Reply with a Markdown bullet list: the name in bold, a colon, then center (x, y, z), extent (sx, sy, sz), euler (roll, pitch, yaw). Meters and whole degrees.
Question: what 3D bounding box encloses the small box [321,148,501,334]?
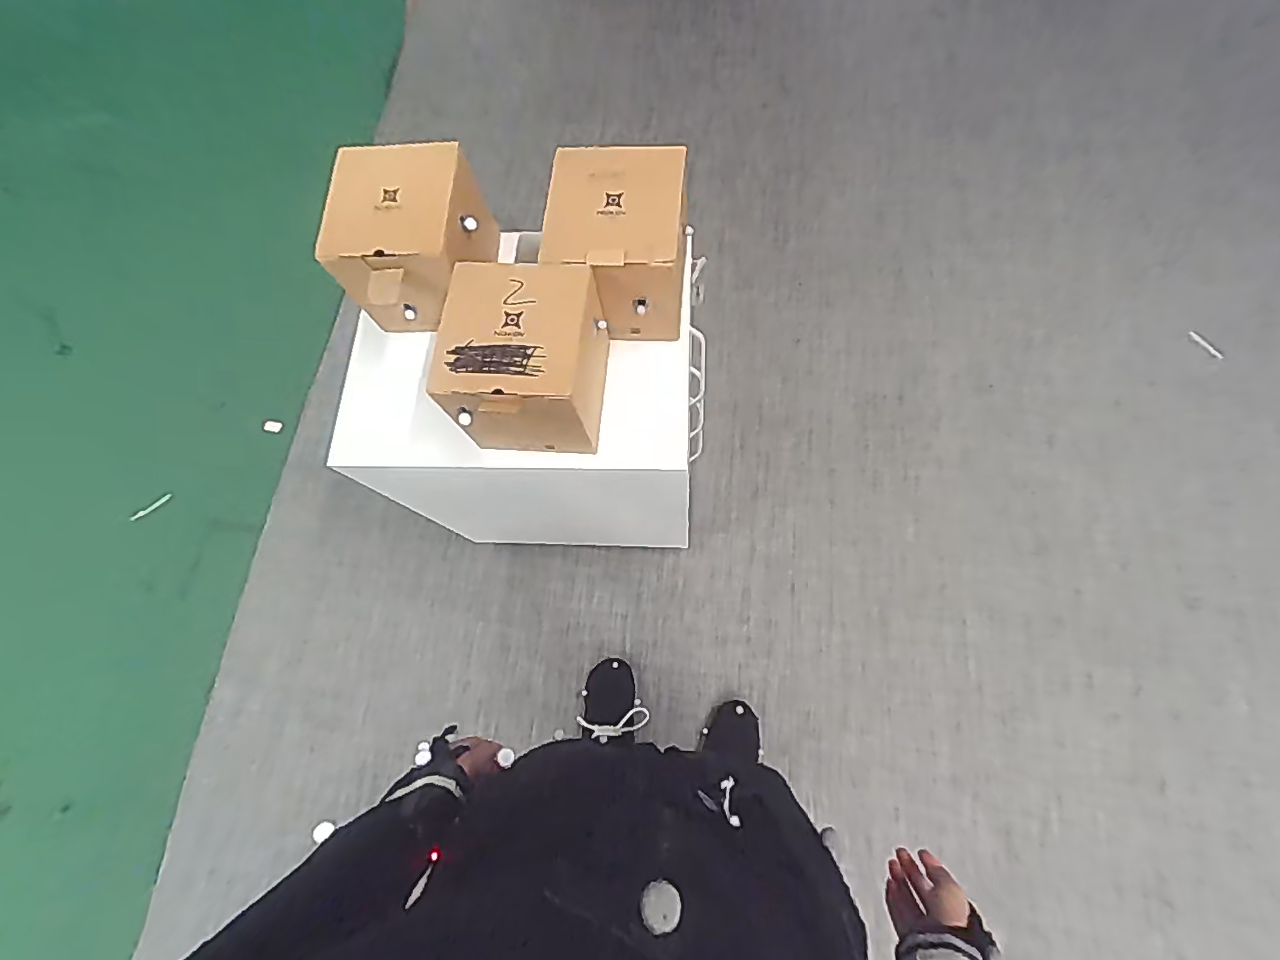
- **small box**: center (-0.305, -0.327, 0.759), extent (0.168, 0.176, 0.179), euler (0, 74, 5)
